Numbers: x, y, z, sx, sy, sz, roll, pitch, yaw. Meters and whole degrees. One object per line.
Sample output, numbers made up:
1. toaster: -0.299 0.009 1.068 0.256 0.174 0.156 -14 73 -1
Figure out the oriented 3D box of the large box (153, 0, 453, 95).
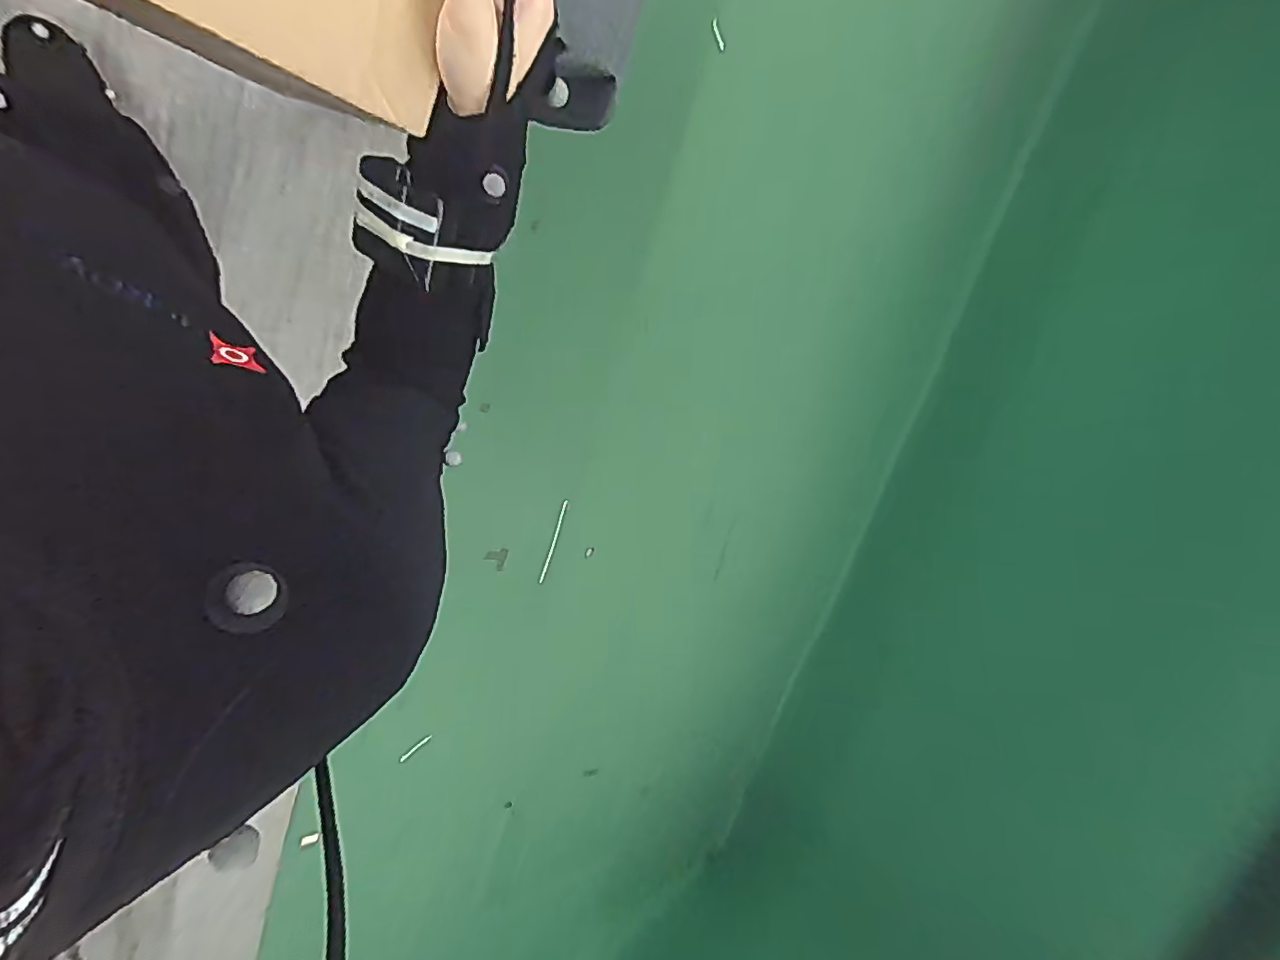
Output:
1. large box: -0.293 -0.427 0.203 0.408 0.320 0.320 2 120 -48
